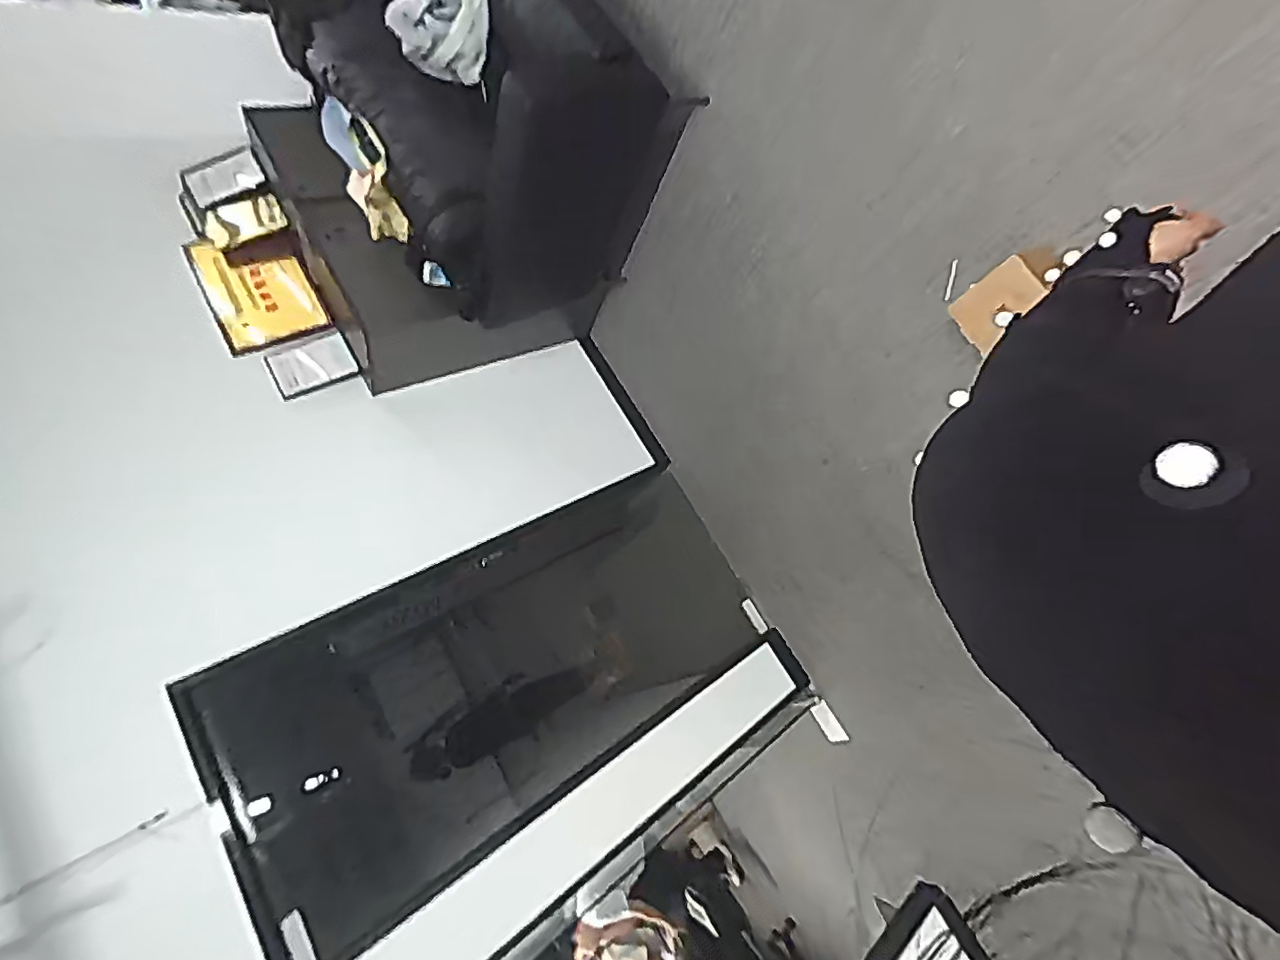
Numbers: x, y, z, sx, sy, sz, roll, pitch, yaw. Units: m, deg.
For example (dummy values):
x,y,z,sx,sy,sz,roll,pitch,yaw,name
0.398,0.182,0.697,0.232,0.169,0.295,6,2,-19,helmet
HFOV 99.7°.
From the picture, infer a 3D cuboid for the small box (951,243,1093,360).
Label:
x,y,z,sx,sy,sz,roll,pitch,yaw,name
0.860,-0.402,1.220,0.168,0.176,0.179,58,148,11,small box
